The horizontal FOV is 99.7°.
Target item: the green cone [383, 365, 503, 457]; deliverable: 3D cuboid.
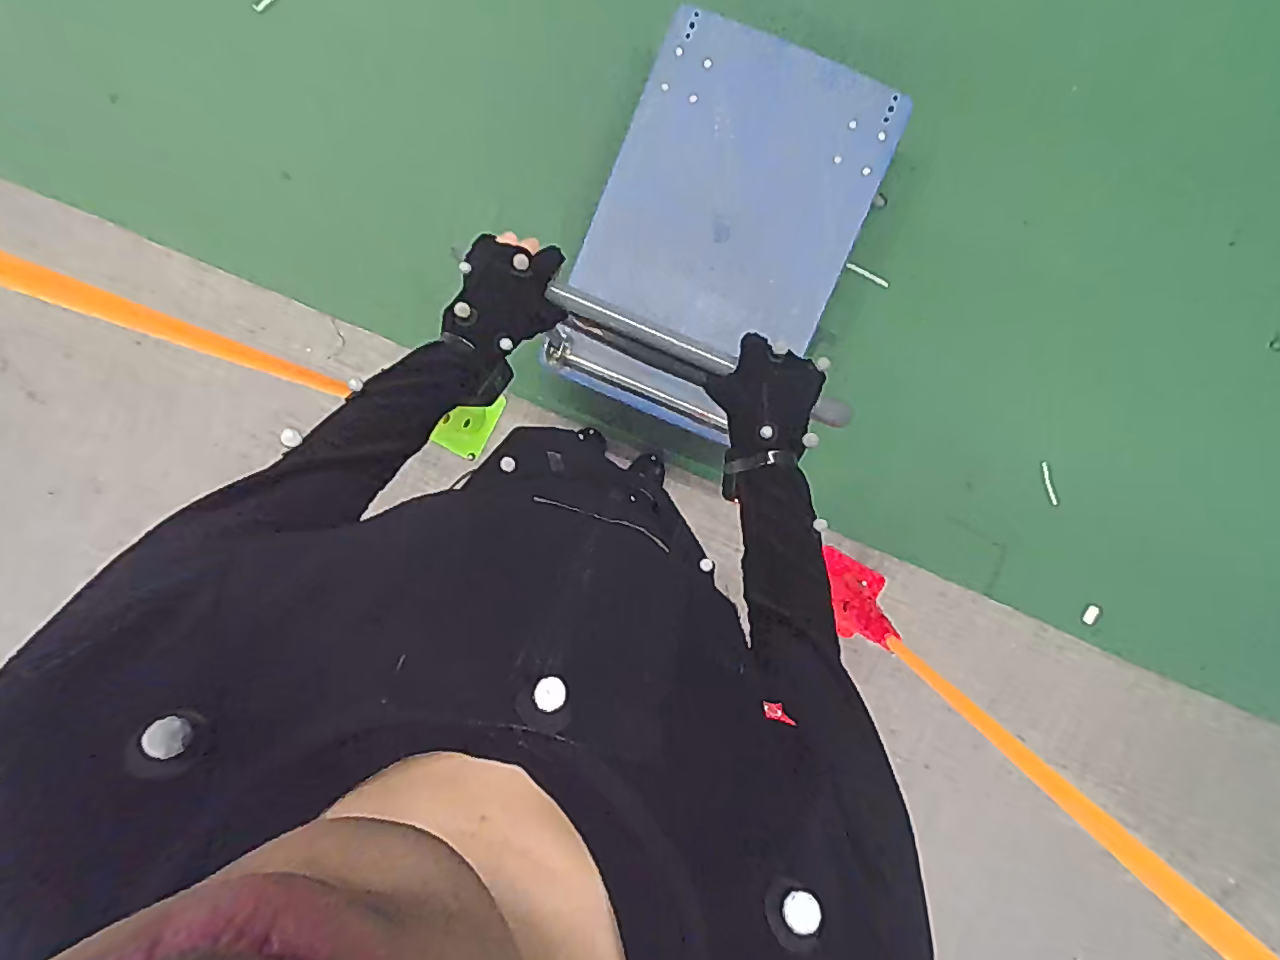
[{"bbox_3d":[-0.502,-0.176,1.299,0.202,0.368,0.200,28,94,1],"label":"green cone"}]
